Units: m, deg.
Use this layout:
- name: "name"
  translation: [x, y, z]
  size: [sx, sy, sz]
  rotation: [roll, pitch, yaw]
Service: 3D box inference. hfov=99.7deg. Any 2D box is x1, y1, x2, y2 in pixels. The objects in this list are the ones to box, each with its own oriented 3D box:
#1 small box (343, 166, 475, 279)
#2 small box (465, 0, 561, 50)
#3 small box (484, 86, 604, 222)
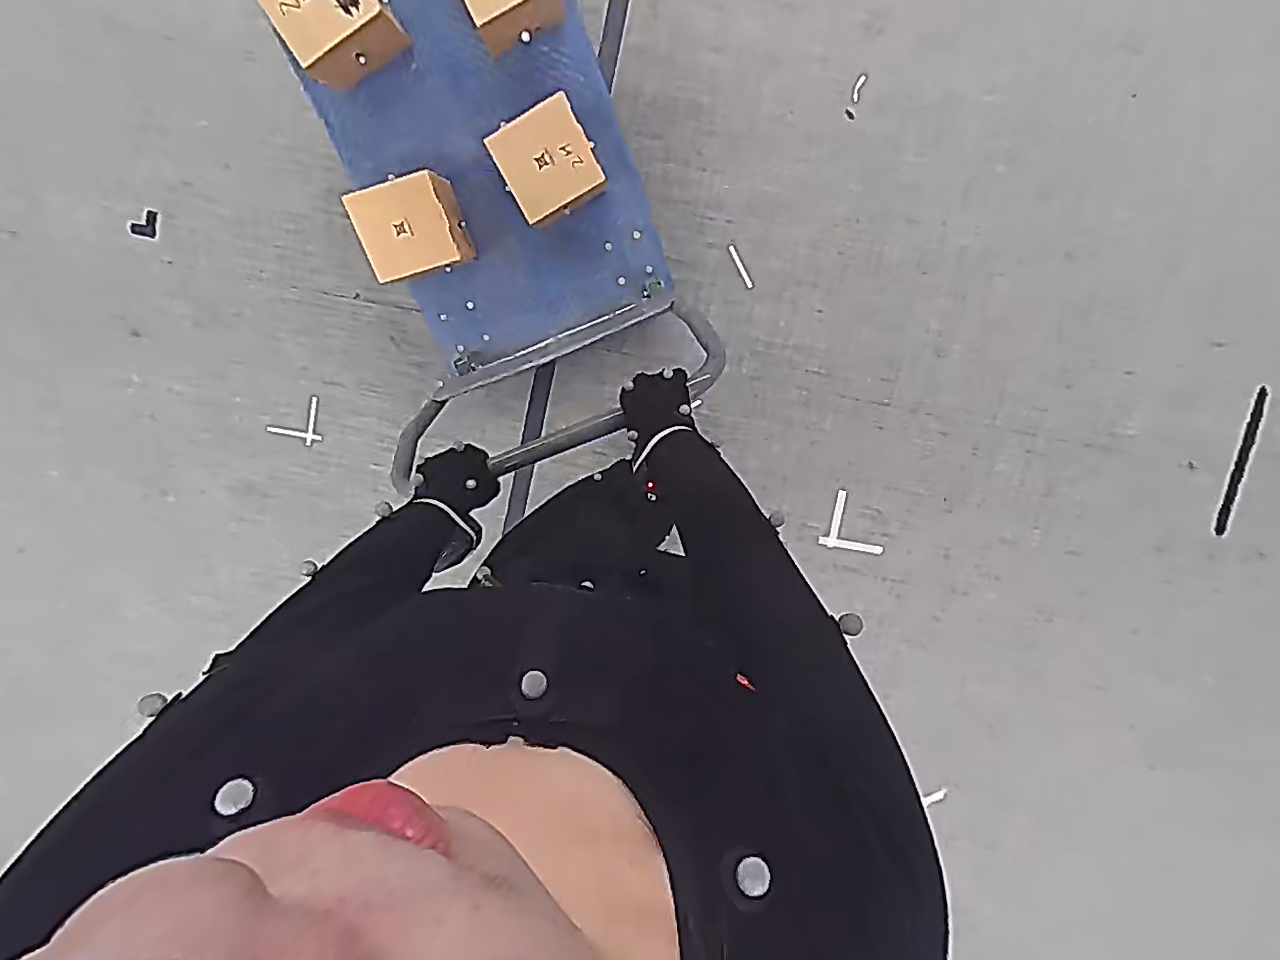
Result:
- name: "small box"
  translation: [-0.467, -0.526, 1.126]
  size: [0.179, 0.176, 0.168]
  rotation: [-18, 112, 1]
- name: "small box"
  translation: [-0.255, -0.932, 0.972]
  size: [0.168, 0.176, 0.179]
  rotation: [-25, 113, 6]
- name: "small box"
  translation: [-0.184, -0.644, 1.096]
  size: [0.179, 0.176, 0.168]
  rotation: [-27, 112, 7]
